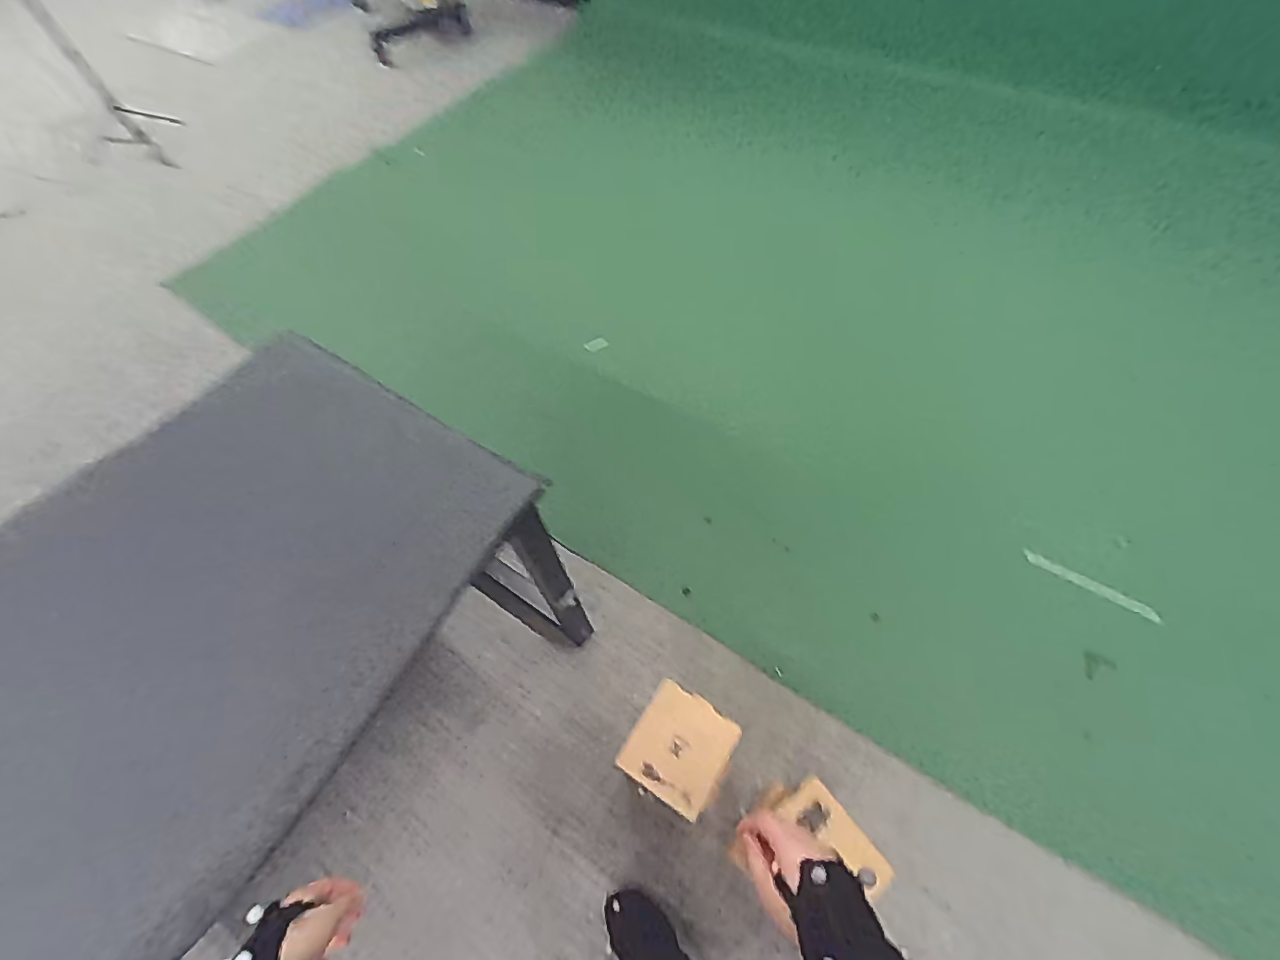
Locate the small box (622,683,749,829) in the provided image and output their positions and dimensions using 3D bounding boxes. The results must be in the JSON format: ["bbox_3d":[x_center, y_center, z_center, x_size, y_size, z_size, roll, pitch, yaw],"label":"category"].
[{"bbox_3d":[0.081,0.519,1.021,0.168,0.176,0.179,32,65,18],"label":"small box"}]

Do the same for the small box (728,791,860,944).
[{"bbox_3d":[0.292,0.744,1.062,0.179,0.176,0.168,38,68,23],"label":"small box"}]
